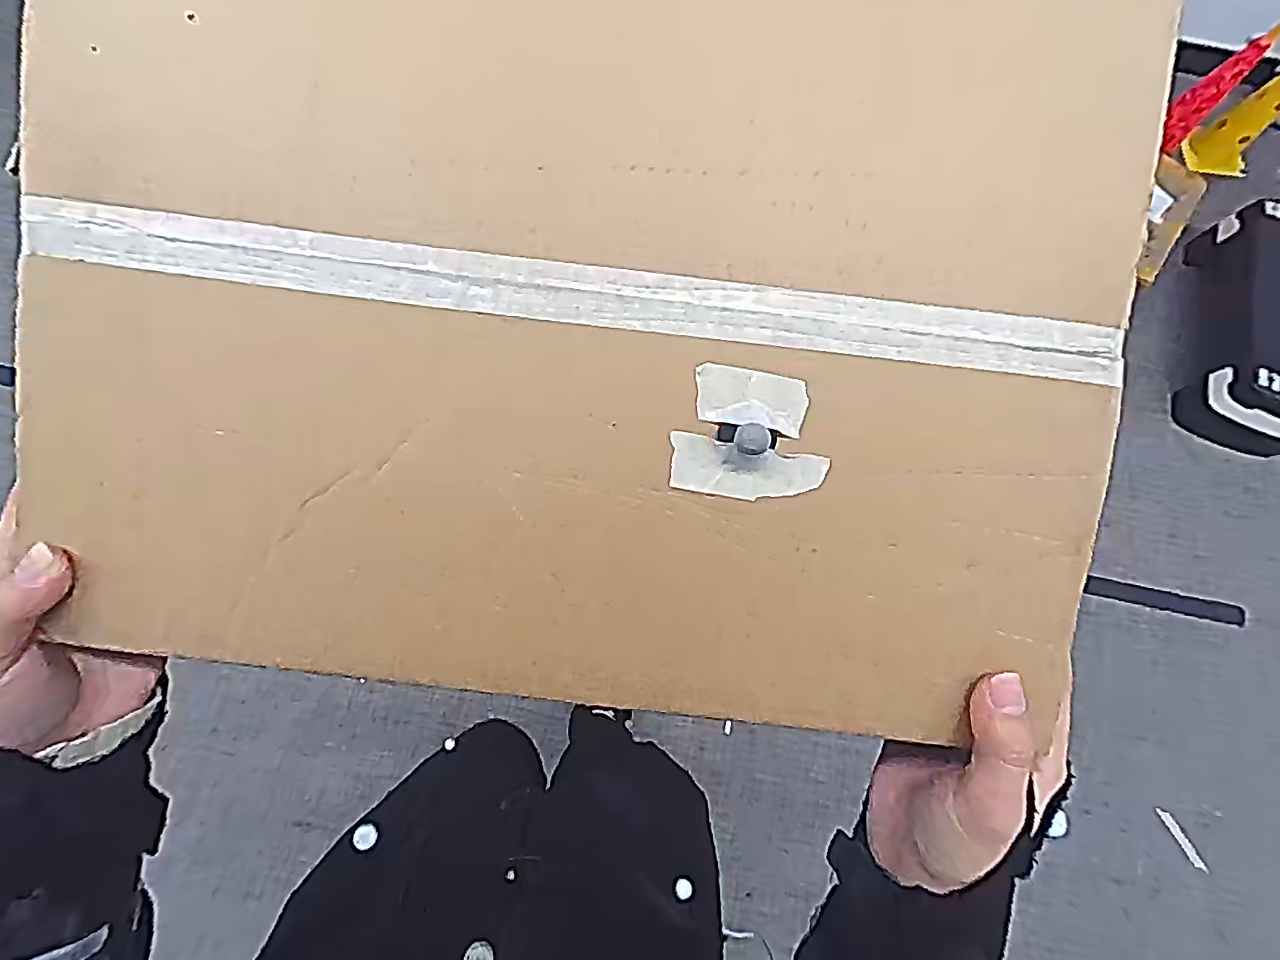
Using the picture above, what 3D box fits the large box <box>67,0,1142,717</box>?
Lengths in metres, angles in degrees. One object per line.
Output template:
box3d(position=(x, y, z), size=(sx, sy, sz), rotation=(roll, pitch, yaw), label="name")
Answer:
box3d(position=(-0.021, -0.079, 0.362), size=(0.408, 0.320, 0.320), rotation=(7, 95, -2), label="large box")
